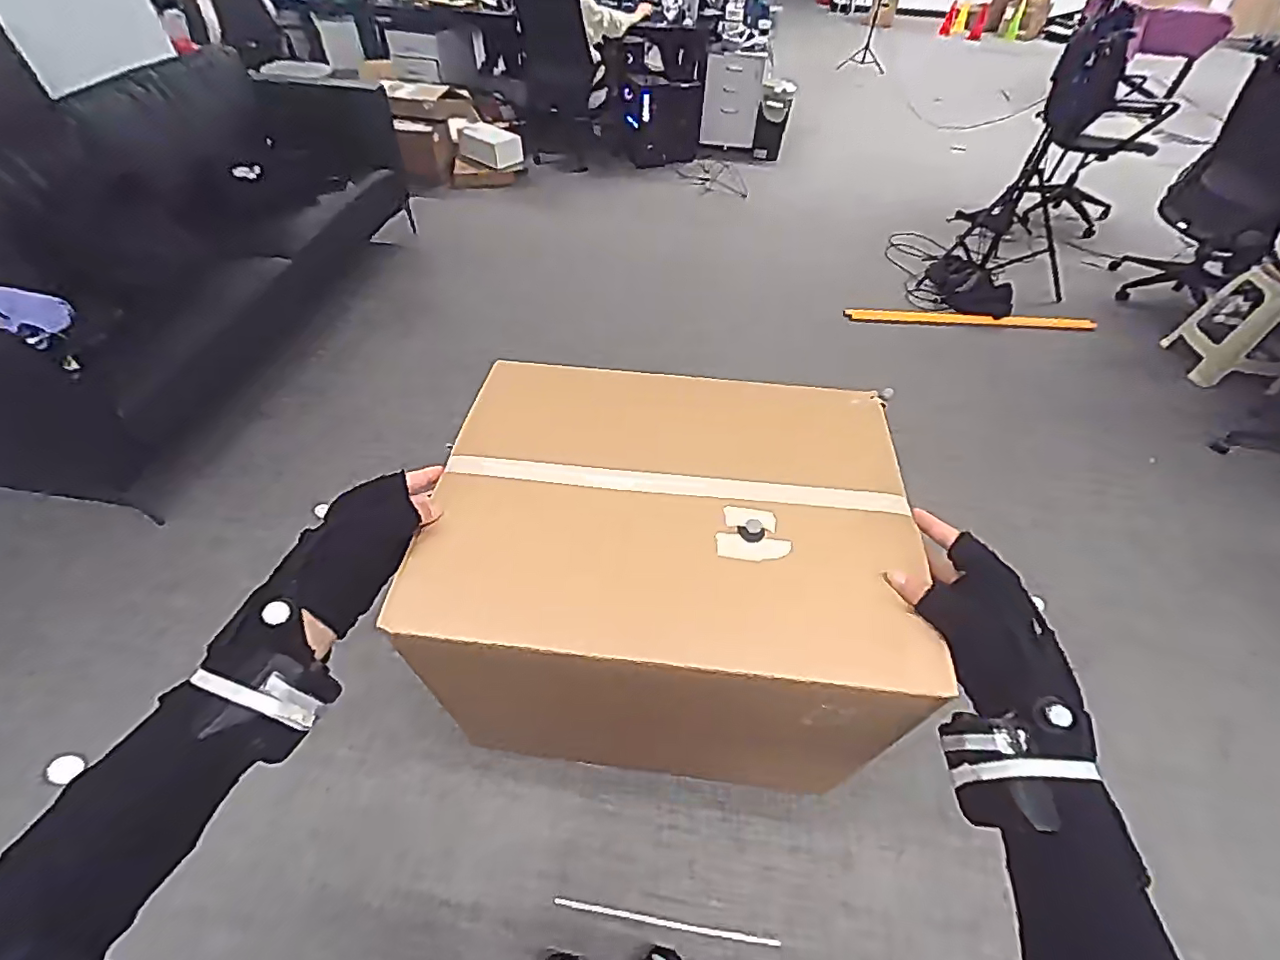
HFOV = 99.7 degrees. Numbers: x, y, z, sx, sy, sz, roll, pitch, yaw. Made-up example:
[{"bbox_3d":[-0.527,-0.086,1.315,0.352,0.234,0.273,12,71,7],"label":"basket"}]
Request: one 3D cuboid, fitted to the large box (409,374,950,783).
[{"bbox_3d":[0.033,0.112,0.598,0.408,0.320,0.320,6,50,3],"label":"large box"}]
